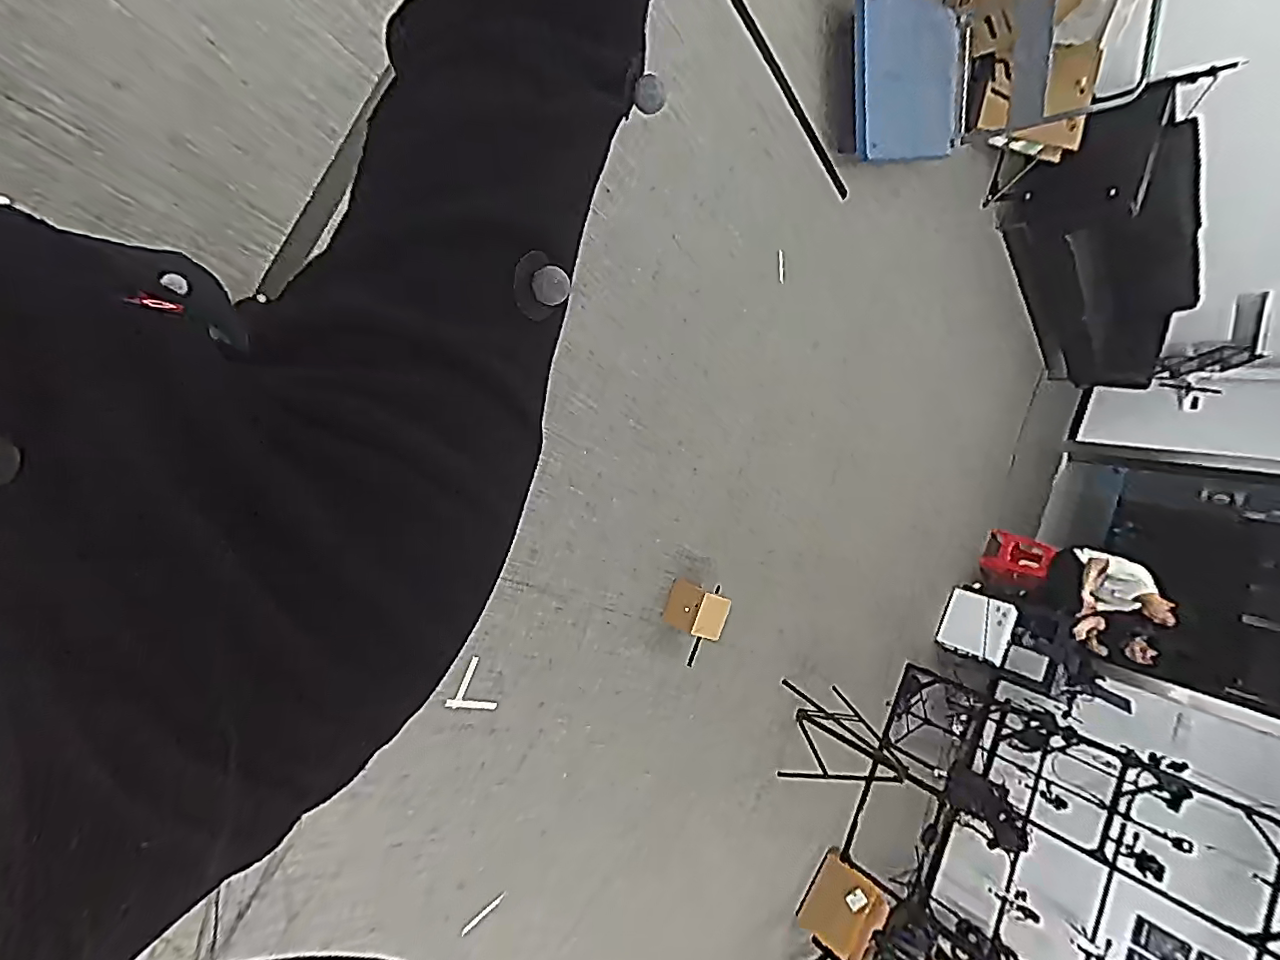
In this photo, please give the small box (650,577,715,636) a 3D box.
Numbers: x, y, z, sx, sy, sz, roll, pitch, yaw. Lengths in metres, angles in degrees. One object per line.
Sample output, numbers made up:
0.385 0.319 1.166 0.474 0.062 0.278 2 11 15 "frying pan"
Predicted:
0.176 0.499 2.126 0.179 0.176 0.168 27 82 -43 "small box"
